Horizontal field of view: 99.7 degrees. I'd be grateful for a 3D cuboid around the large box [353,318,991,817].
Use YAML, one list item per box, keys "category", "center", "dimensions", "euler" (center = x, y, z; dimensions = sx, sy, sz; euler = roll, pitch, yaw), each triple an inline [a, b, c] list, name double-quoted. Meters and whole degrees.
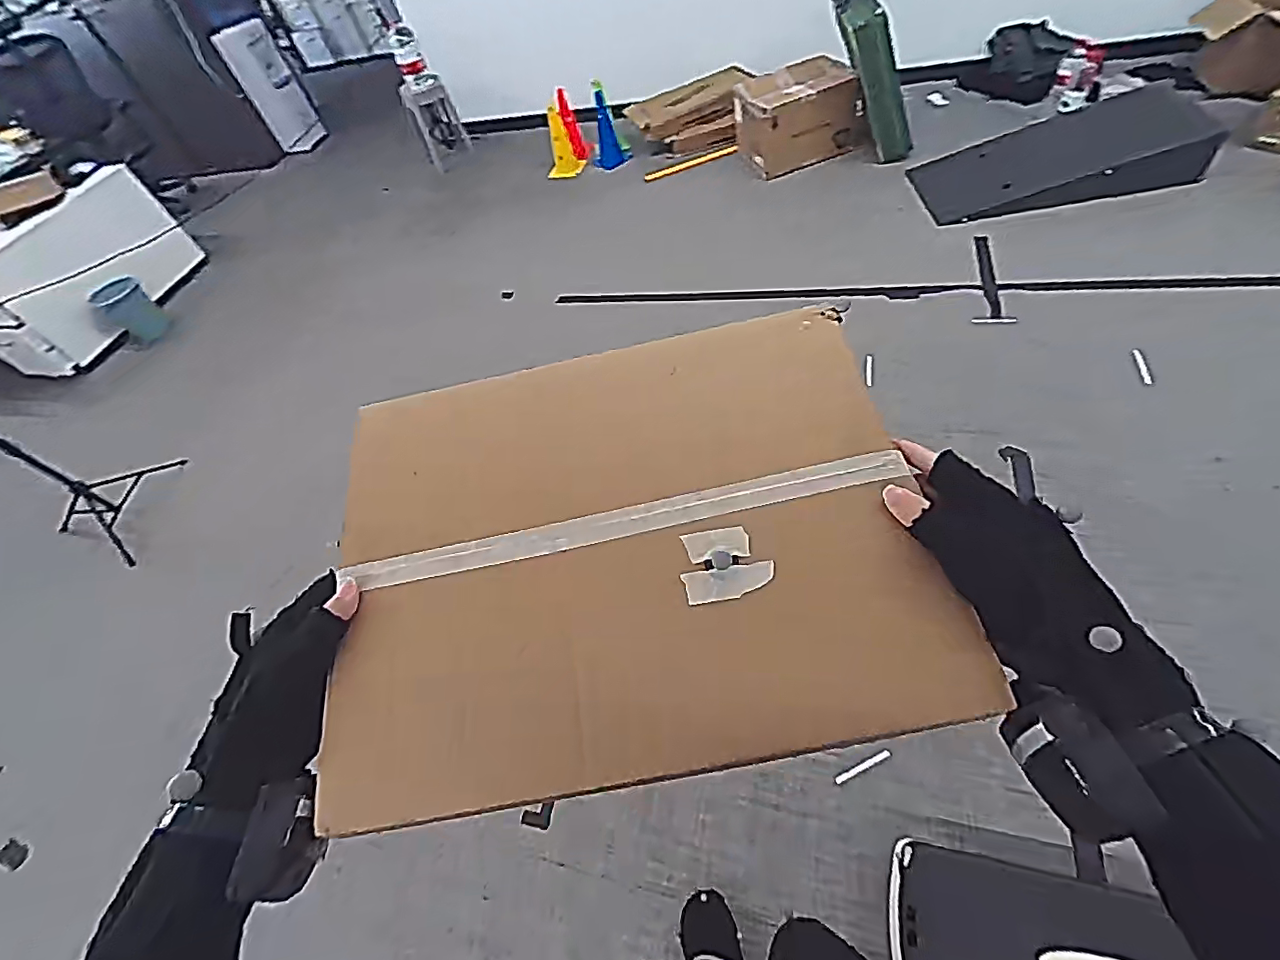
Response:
- category: "large box"
  center: [0.010, 0.103, 0.525]
  dimensions: [0.408, 0.320, 0.320]
  euler: [-11, 62, 2]
